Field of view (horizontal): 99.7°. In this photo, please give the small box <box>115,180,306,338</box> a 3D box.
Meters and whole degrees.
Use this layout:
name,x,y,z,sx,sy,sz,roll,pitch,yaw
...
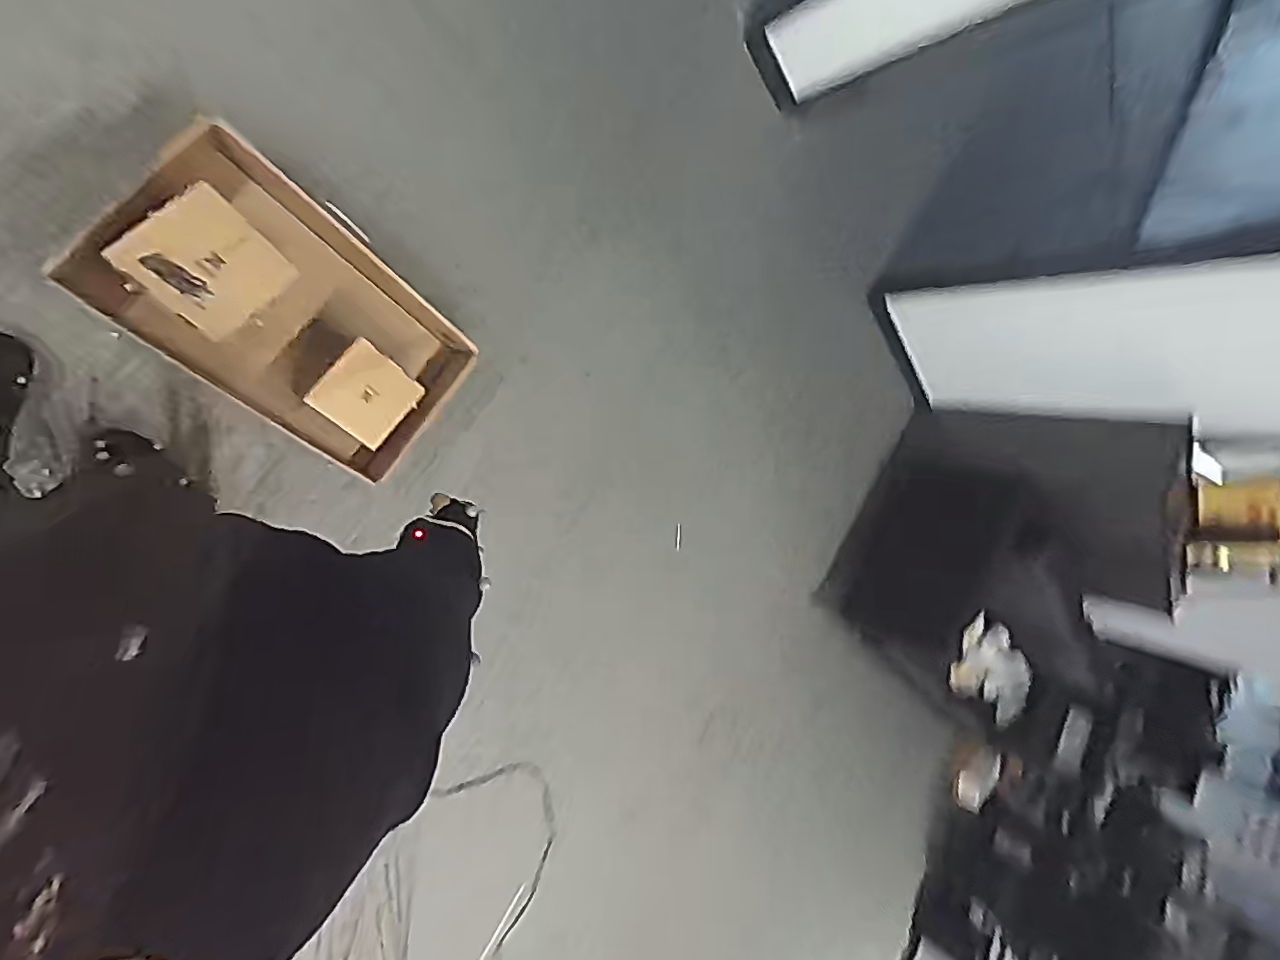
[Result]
name,x,y,z,sx,sy,sz,roll,pitch,yaw
small box,-0.694,-0.350,0.890,0.179,0.176,0.168,-52,127,-18
